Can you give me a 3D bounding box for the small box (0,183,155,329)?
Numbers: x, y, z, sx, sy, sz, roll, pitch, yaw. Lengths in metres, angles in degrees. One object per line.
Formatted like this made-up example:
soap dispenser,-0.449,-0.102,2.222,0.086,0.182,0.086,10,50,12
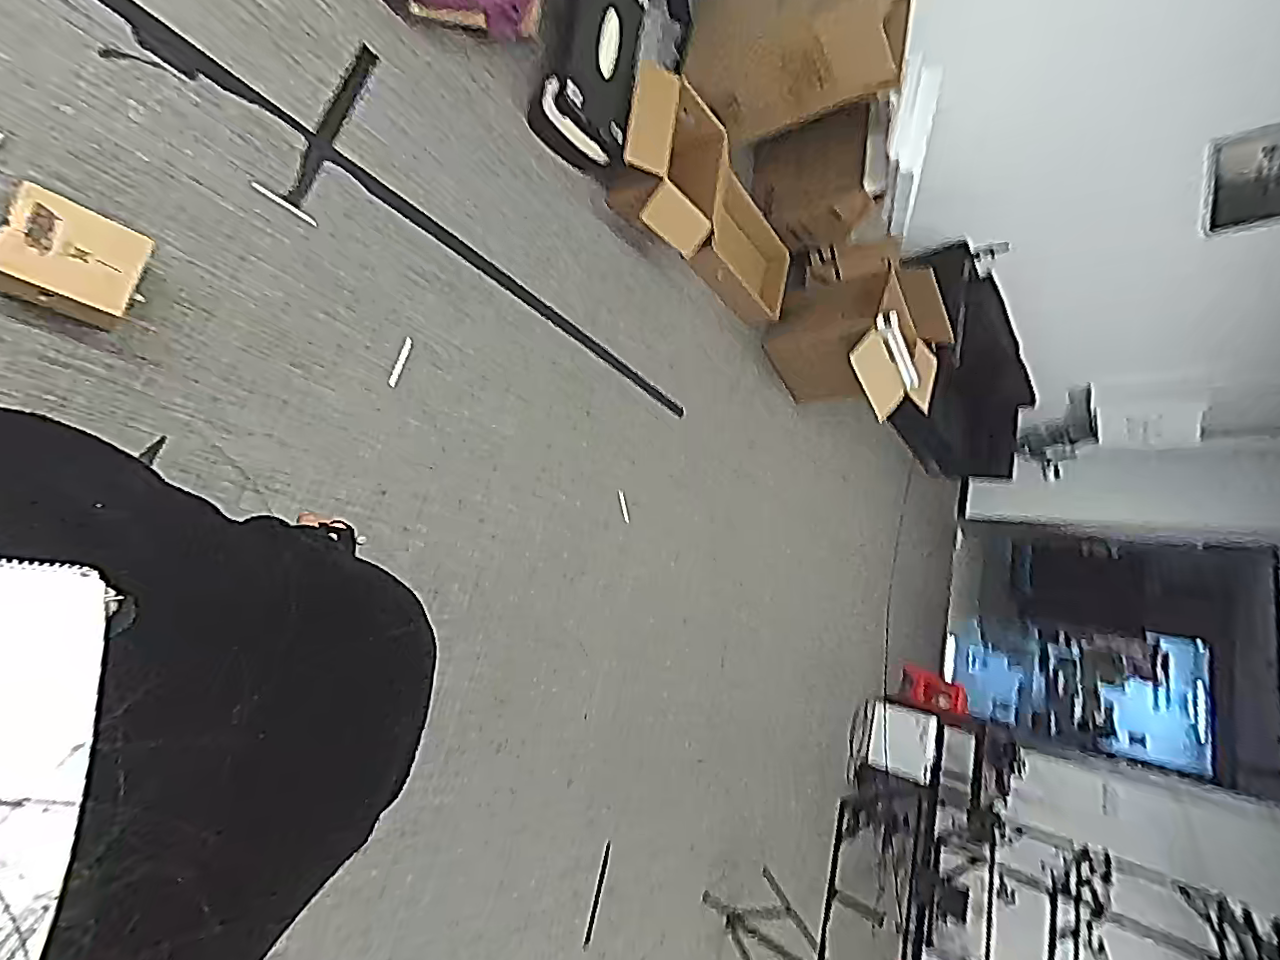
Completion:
small box,-1.058,-0.401,1.008,0.179,0.176,0.168,26,72,-45
